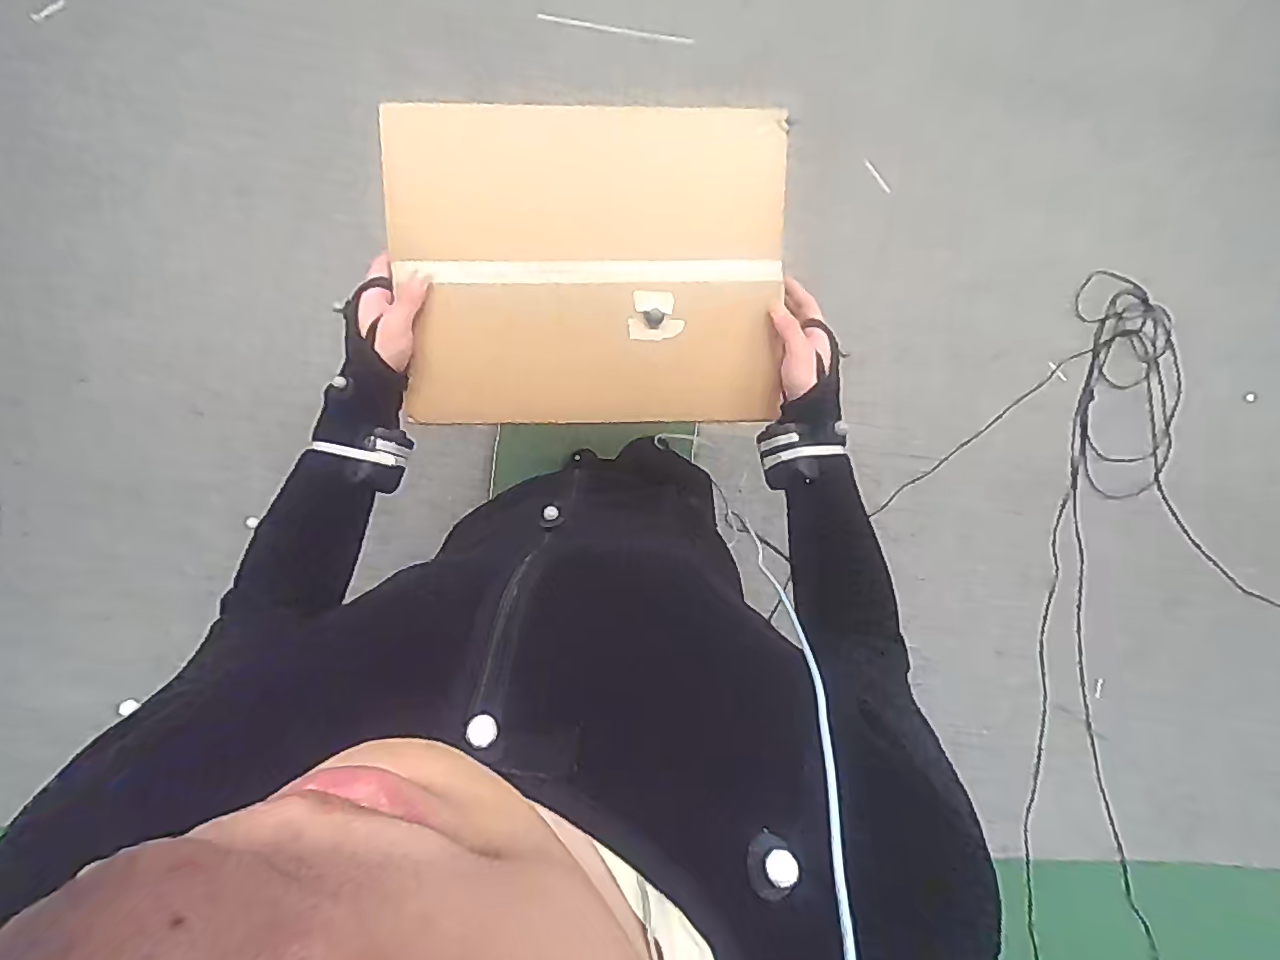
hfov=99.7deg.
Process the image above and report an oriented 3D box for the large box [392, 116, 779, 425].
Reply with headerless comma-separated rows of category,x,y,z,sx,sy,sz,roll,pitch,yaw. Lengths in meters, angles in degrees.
large box,-0.059,-0.243,0.723,0.408,0.320,0.320,-1,100,-3
